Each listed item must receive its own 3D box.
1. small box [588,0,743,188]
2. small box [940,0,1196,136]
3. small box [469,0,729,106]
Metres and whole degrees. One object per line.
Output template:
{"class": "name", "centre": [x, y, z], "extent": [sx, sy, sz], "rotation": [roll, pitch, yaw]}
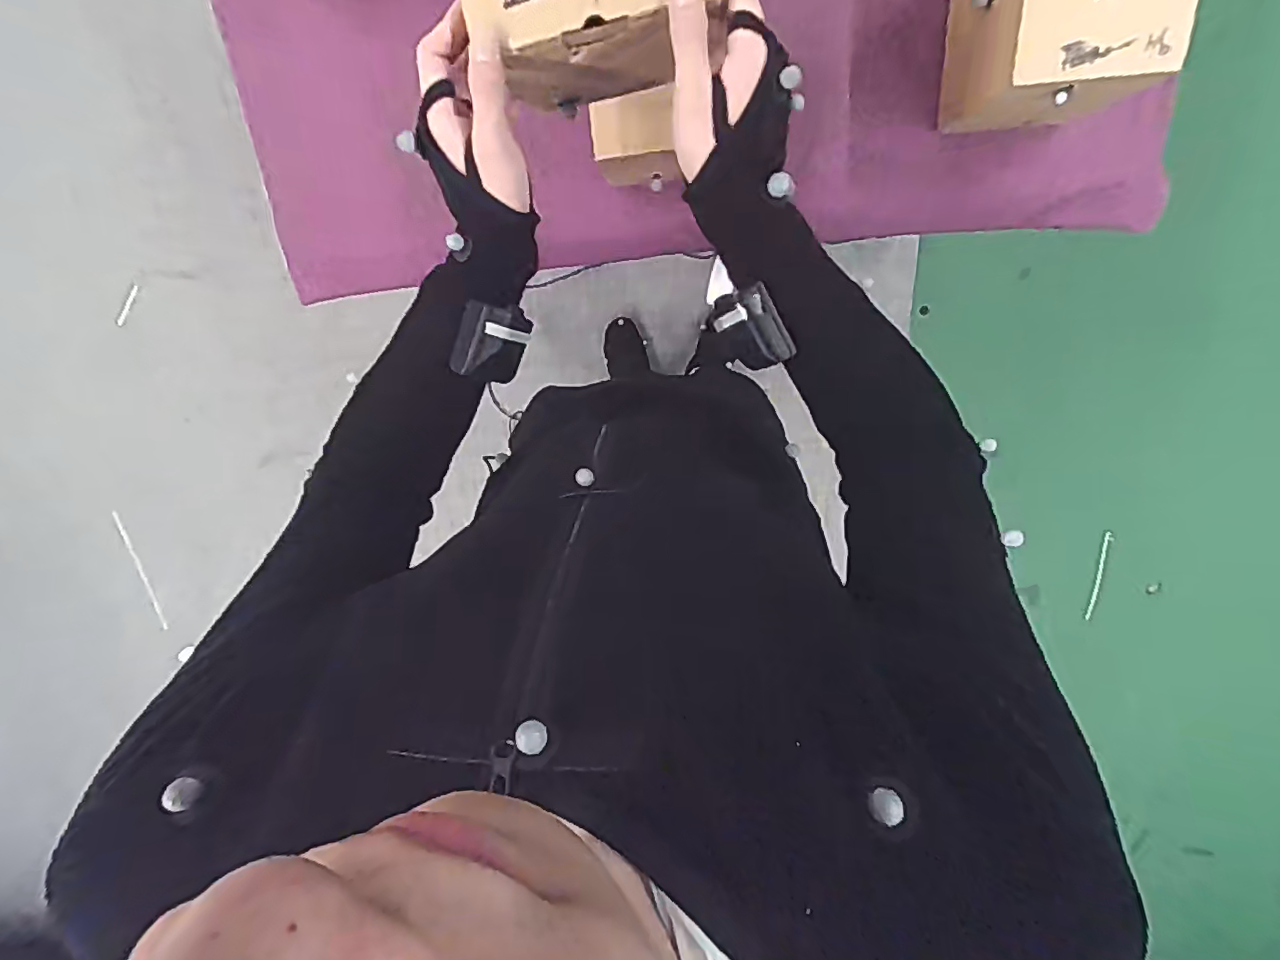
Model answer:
{"class": "small box", "centre": [0.026, -0.461, 0.634], "extent": [0.168, 0.176, 0.179], "rotation": [-4, 109, 5]}
{"class": "small box", "centre": [0.458, -0.508, 0.597], "extent": [0.168, 0.176, 0.179], "rotation": [-2, 108, 4]}
{"class": "small box", "centre": [-0.028, -0.390, 0.381], "extent": [0.168, 0.176, 0.179], "rotation": [-7, 113, 9]}
